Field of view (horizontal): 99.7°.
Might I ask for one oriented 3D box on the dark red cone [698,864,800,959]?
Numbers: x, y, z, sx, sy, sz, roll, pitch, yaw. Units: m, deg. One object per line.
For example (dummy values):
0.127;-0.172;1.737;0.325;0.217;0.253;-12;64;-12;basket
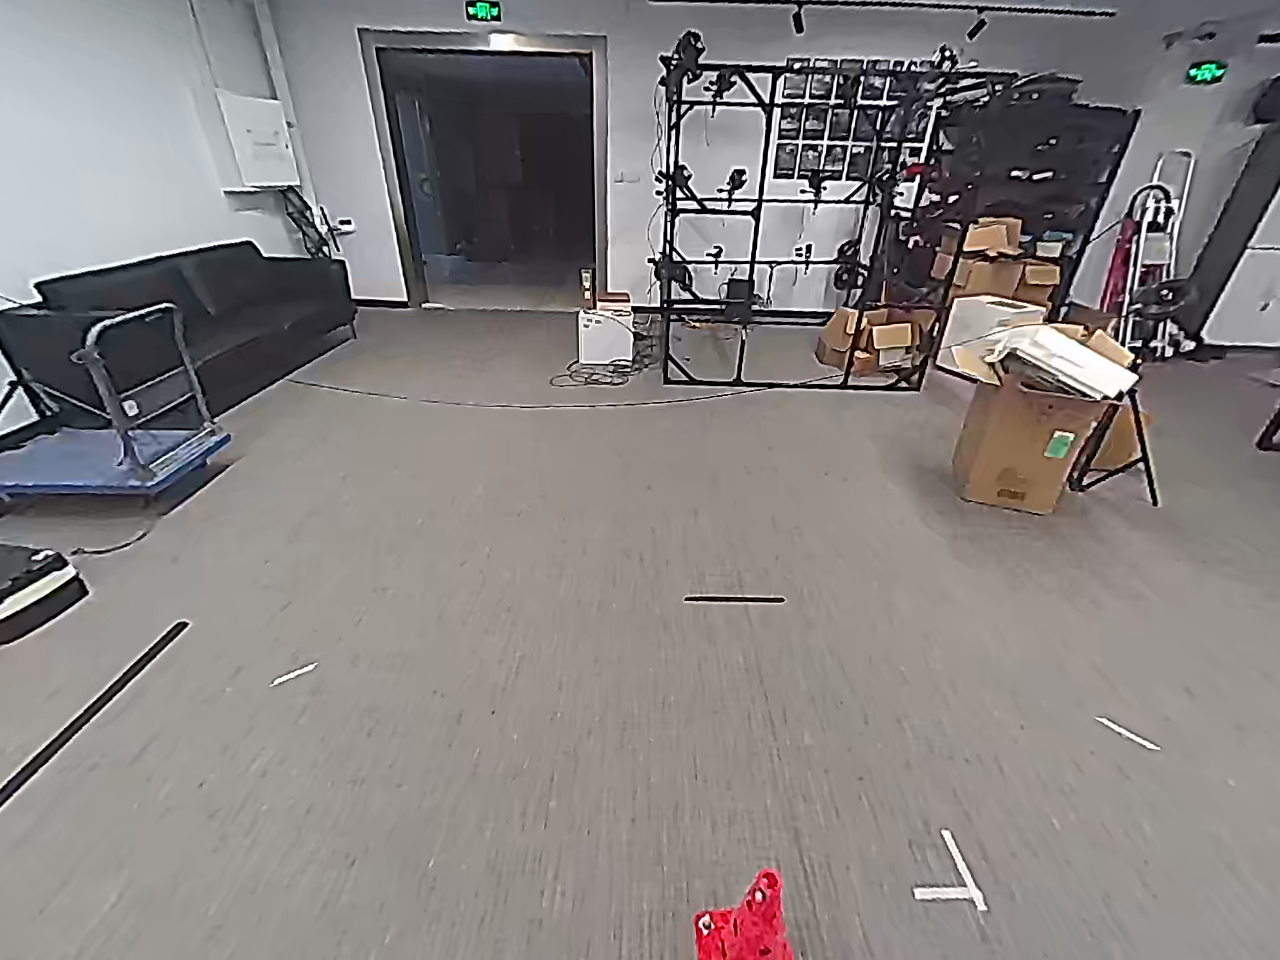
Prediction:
0.232;0.835;1.013;0.202;0.394;0.201;-2;31;-6;dark red cone
